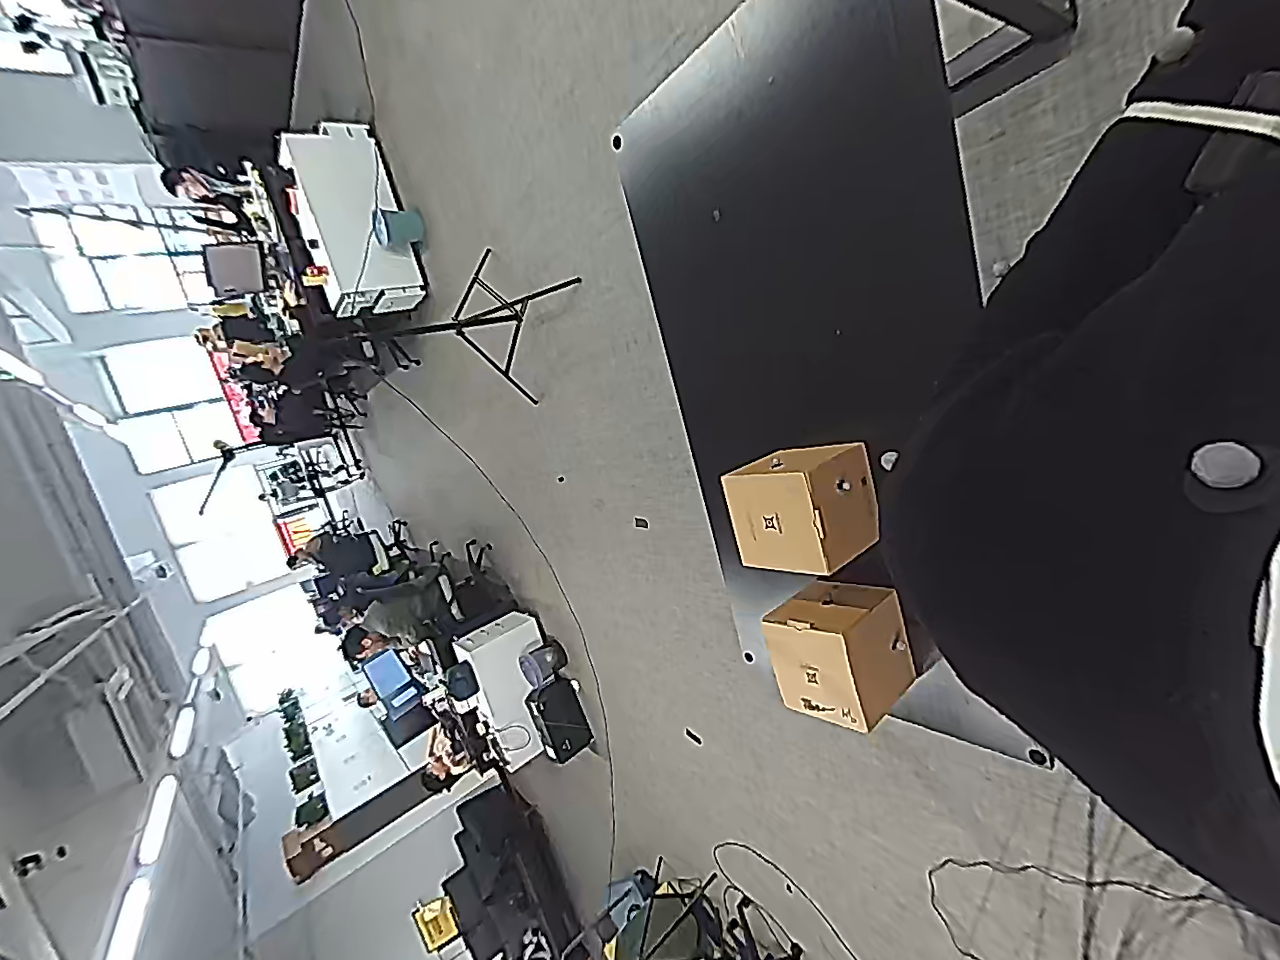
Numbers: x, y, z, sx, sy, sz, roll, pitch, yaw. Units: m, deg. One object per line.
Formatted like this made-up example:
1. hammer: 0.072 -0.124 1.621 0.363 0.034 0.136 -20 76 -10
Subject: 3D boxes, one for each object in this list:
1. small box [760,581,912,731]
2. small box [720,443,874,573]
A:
1. small box: 0.341 0.290 0.939 0.168 0.176 0.179 -6 102 54
2. small box: 0.268 0.041 0.905 0.179 0.176 0.168 -4 104 54
